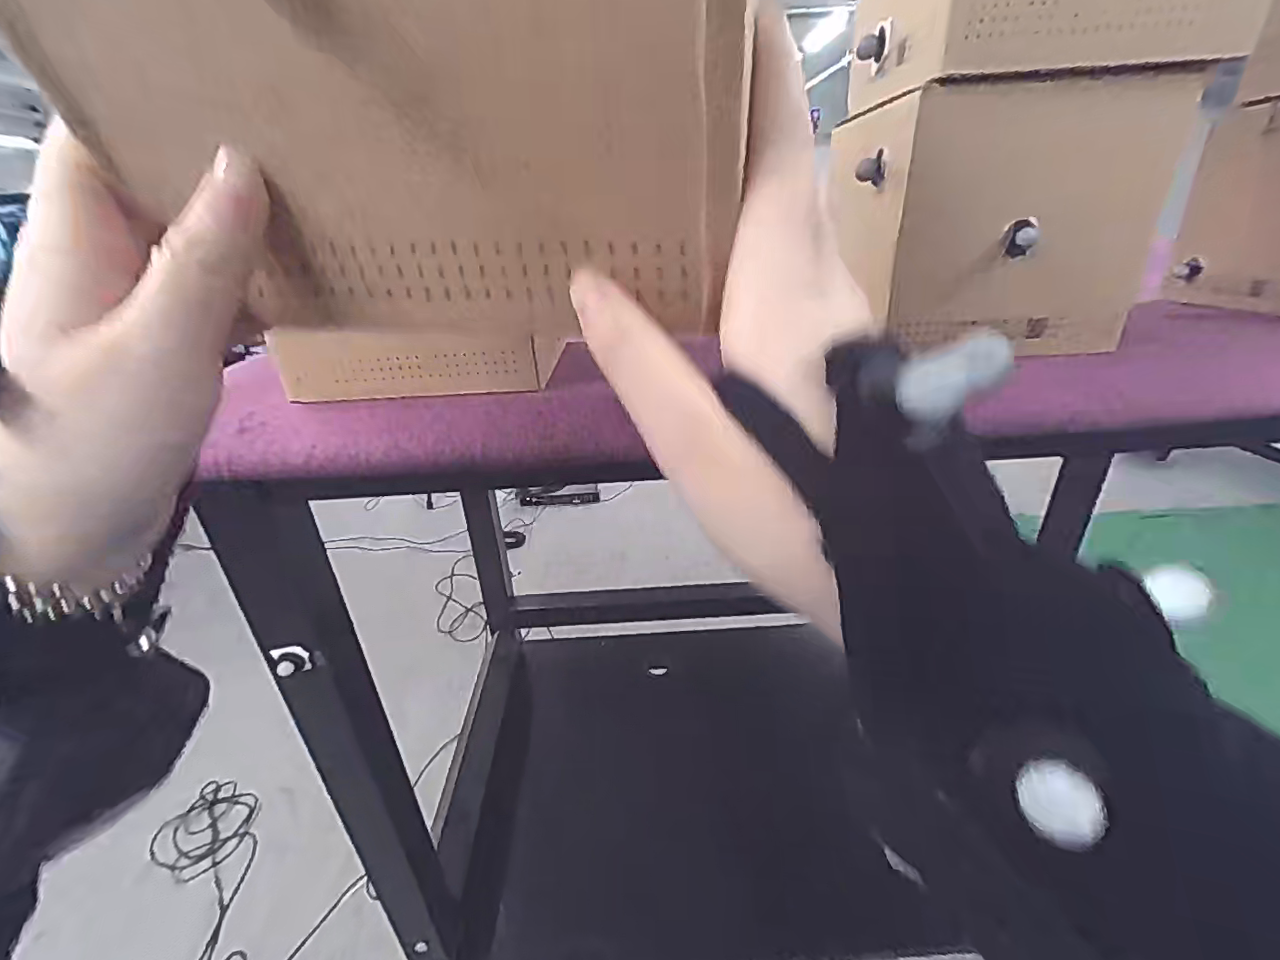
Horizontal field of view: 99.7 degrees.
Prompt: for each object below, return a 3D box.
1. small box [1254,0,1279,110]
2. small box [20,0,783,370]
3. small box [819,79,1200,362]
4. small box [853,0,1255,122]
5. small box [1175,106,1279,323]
[{"bbox_3d":[0.600,-0.367,0.371,0.179,0.176,0.168,-3,25,2],"label":"small box"},{"bbox_3d":[-0.046,-0.148,0.164,0.179,0.176,0.168,3,50,10],"label":"small box"},{"bbox_3d":[0.251,-0.192,0.427,0.168,0.176,0.179,-1,26,1],"label":"small box"},{"bbox_3d":[0.255,-0.333,0.344,0.179,0.176,0.168,-3,25,2],"label":"small box"},{"bbox_3d":[0.612,-0.226,0.452,0.179,0.176,0.168,-1,25,5],"label":"small box"}]
